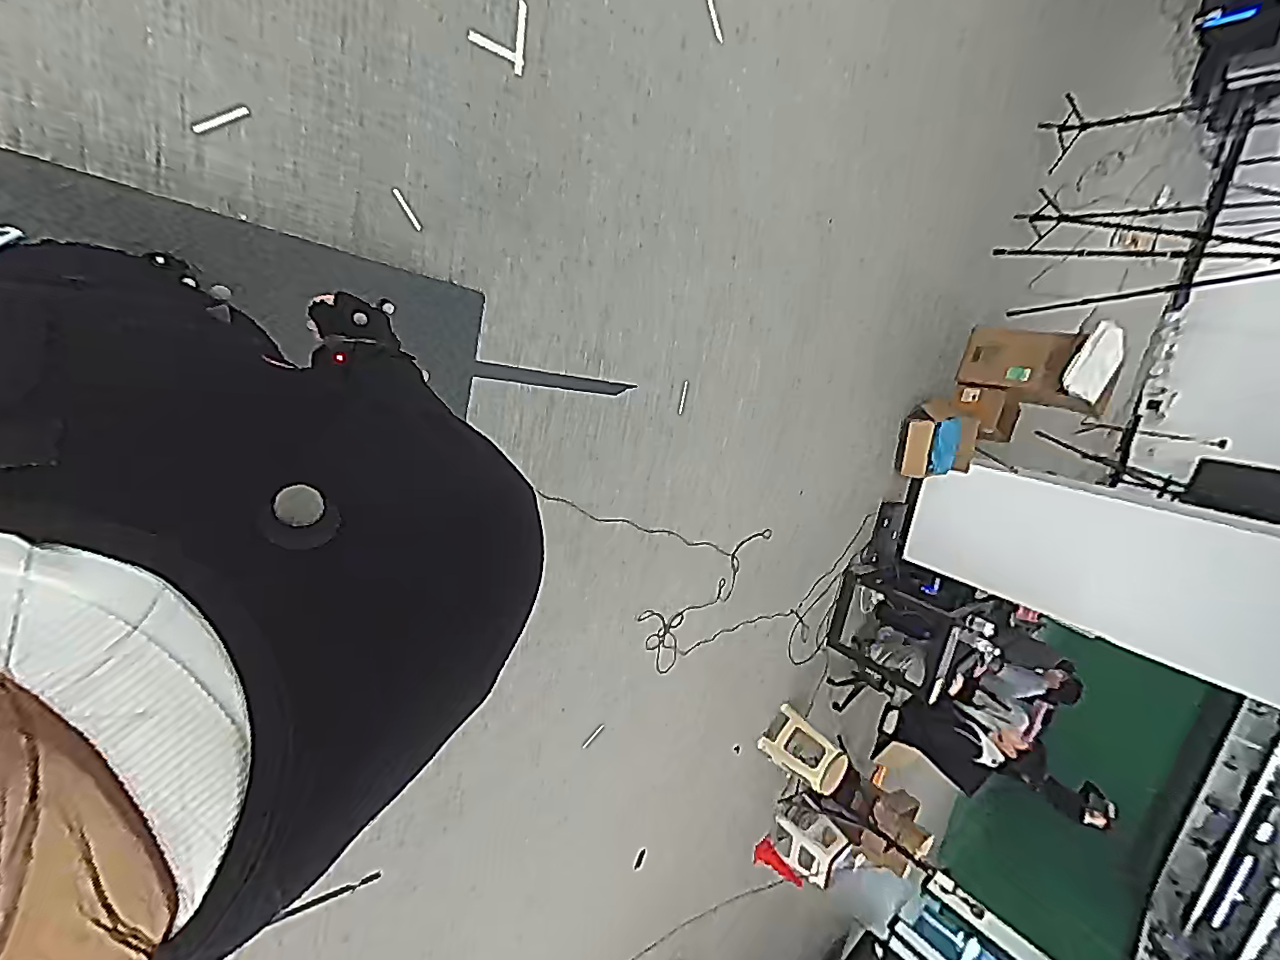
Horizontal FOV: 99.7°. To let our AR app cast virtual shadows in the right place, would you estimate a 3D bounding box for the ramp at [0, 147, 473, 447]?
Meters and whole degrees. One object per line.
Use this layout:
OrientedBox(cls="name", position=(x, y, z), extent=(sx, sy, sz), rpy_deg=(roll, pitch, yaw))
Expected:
OrientedBox(cls="ramp", position=(-0.845, -0.325, 1.258), extent=(0.991, 0.206, 0.509), rpy_deg=(0, 105, -43))
